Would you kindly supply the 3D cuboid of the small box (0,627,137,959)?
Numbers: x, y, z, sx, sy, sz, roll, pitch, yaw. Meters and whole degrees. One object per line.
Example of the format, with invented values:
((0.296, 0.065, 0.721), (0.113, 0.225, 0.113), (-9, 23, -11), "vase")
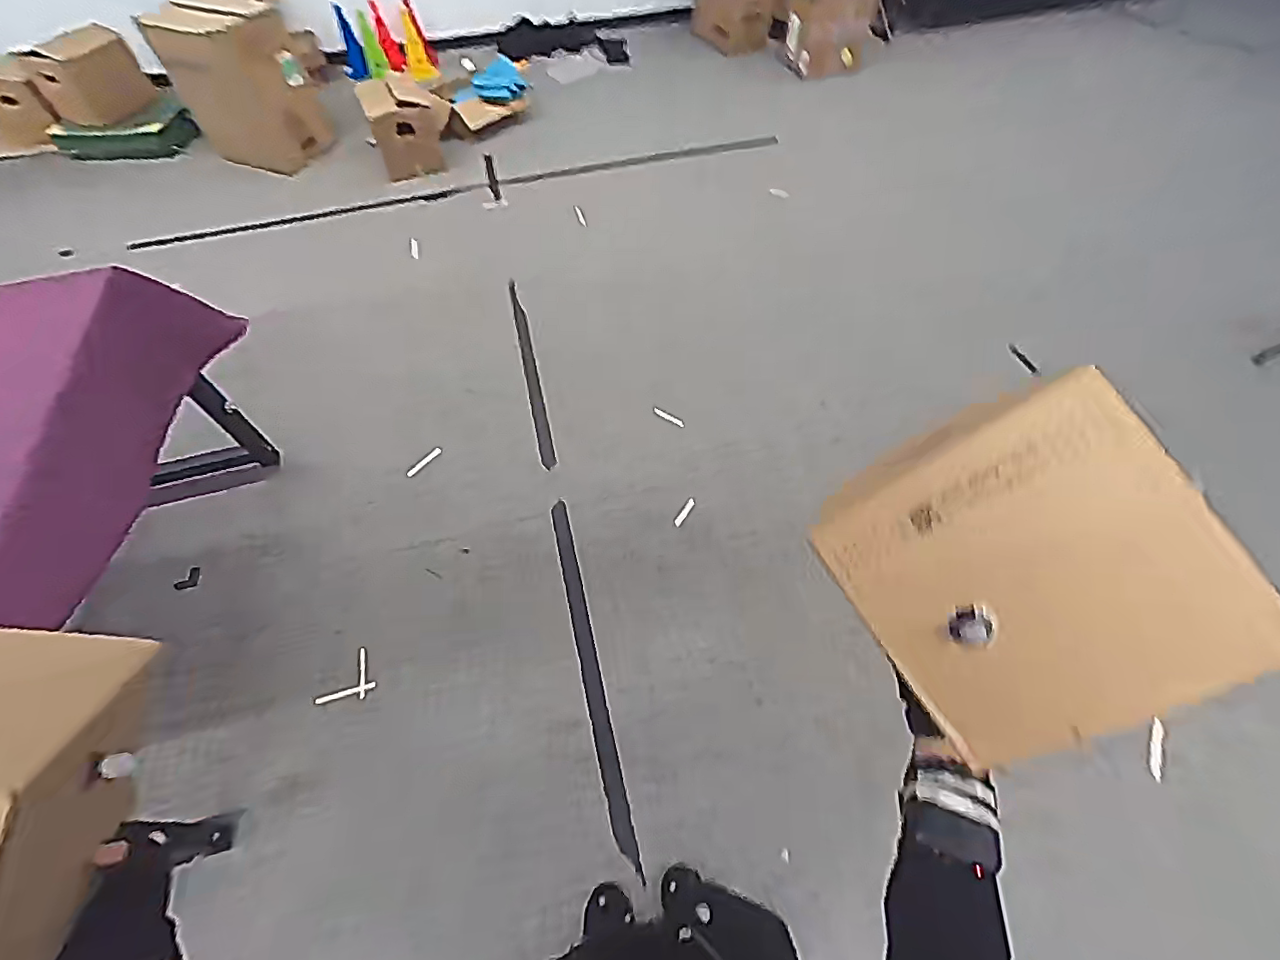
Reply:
((-0.378, 0.172, 0.247), (0.168, 0.179, 0.176), (14, 88, -28), "small box")

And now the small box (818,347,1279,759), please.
((0.234, 0.033, 0.354), (0.168, 0.179, 0.176), (-35, 84, 22), "small box")
